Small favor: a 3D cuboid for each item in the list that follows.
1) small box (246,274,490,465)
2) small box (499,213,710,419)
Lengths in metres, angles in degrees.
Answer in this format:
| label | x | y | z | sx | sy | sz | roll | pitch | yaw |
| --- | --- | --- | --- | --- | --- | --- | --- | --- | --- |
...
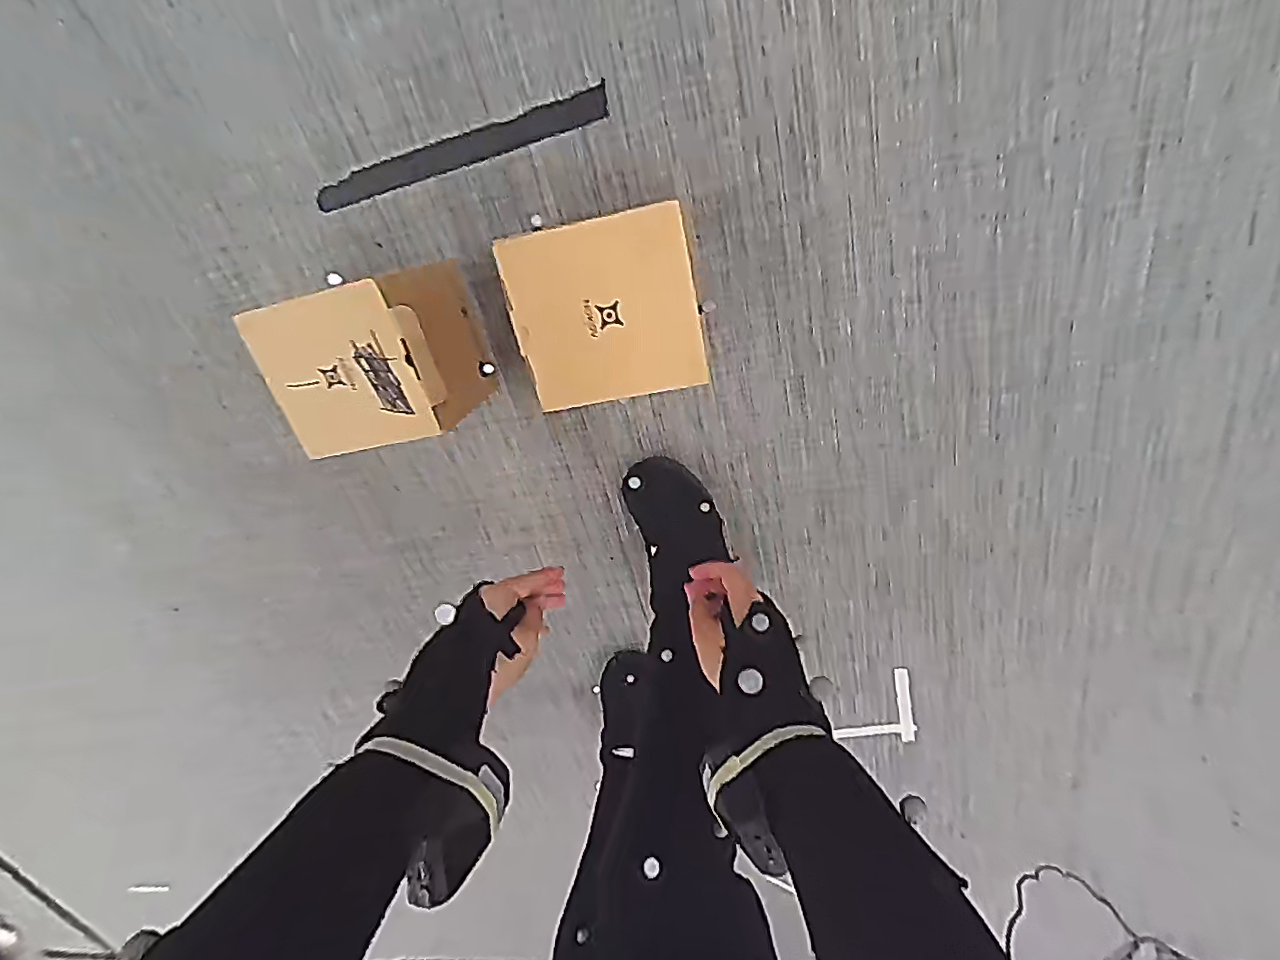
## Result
| label | x | y | z | sx | sy | sz | roll | pitch | yaw |
| --- | --- | --- | --- | --- | --- | --- | --- | --- | --- |
| small box | -0.298 | -0.137 | 0.644 | 0.179 | 0.176 | 0.168 | -9 | 115 | 13 |
| small box | -0.023 | -0.184 | 0.588 | 0.179 | 0.176 | 0.168 | -8 | 116 | 12 |
